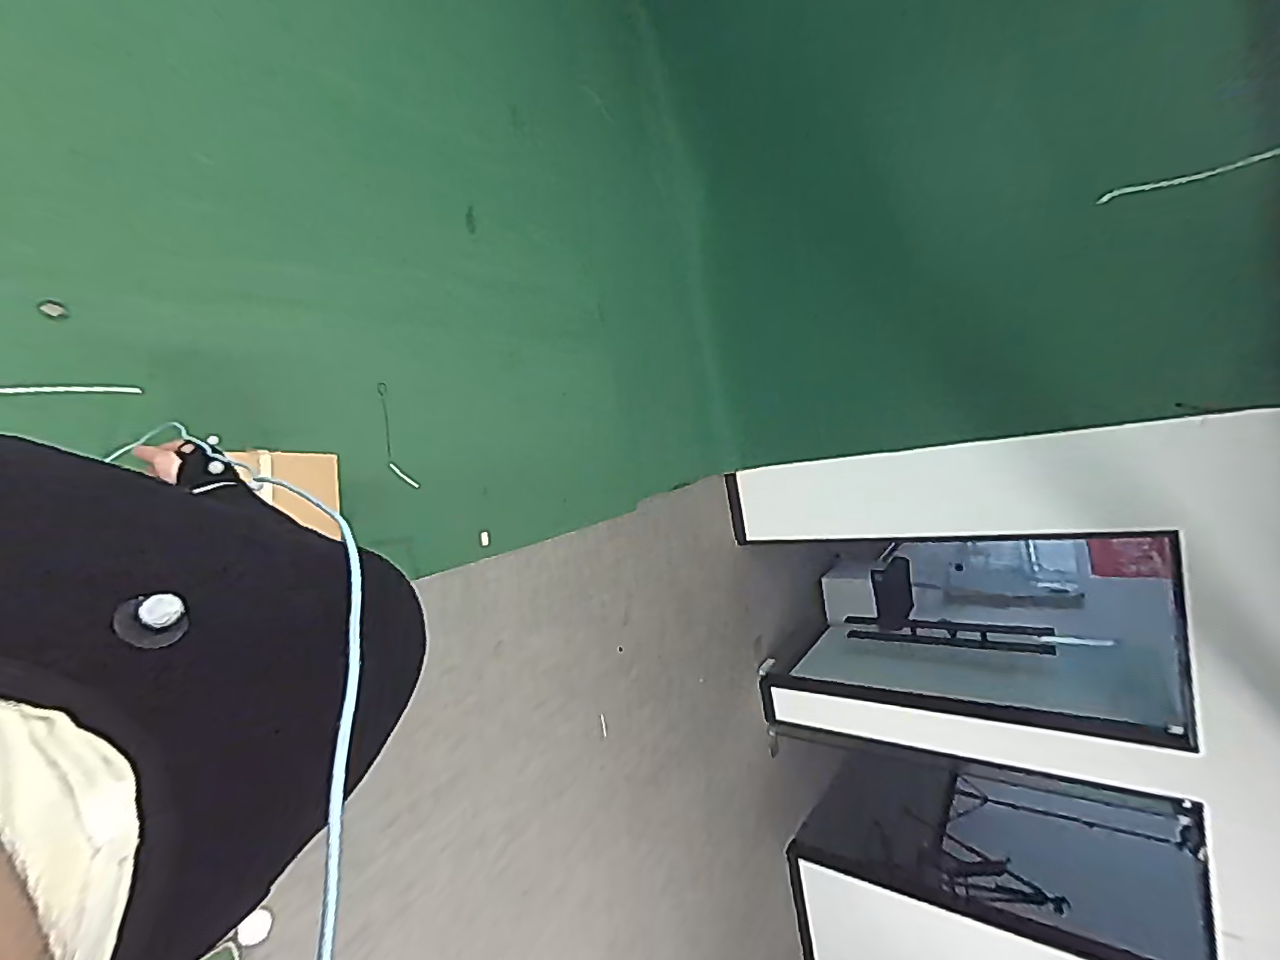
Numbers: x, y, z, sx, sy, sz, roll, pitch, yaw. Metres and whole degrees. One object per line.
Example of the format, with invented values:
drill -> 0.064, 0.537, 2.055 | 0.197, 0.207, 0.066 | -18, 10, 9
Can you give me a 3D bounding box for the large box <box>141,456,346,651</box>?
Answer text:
large box -> -0.950, 0.155, 1.299 | 0.320, 0.320, 0.408 | -2, 87, -52
